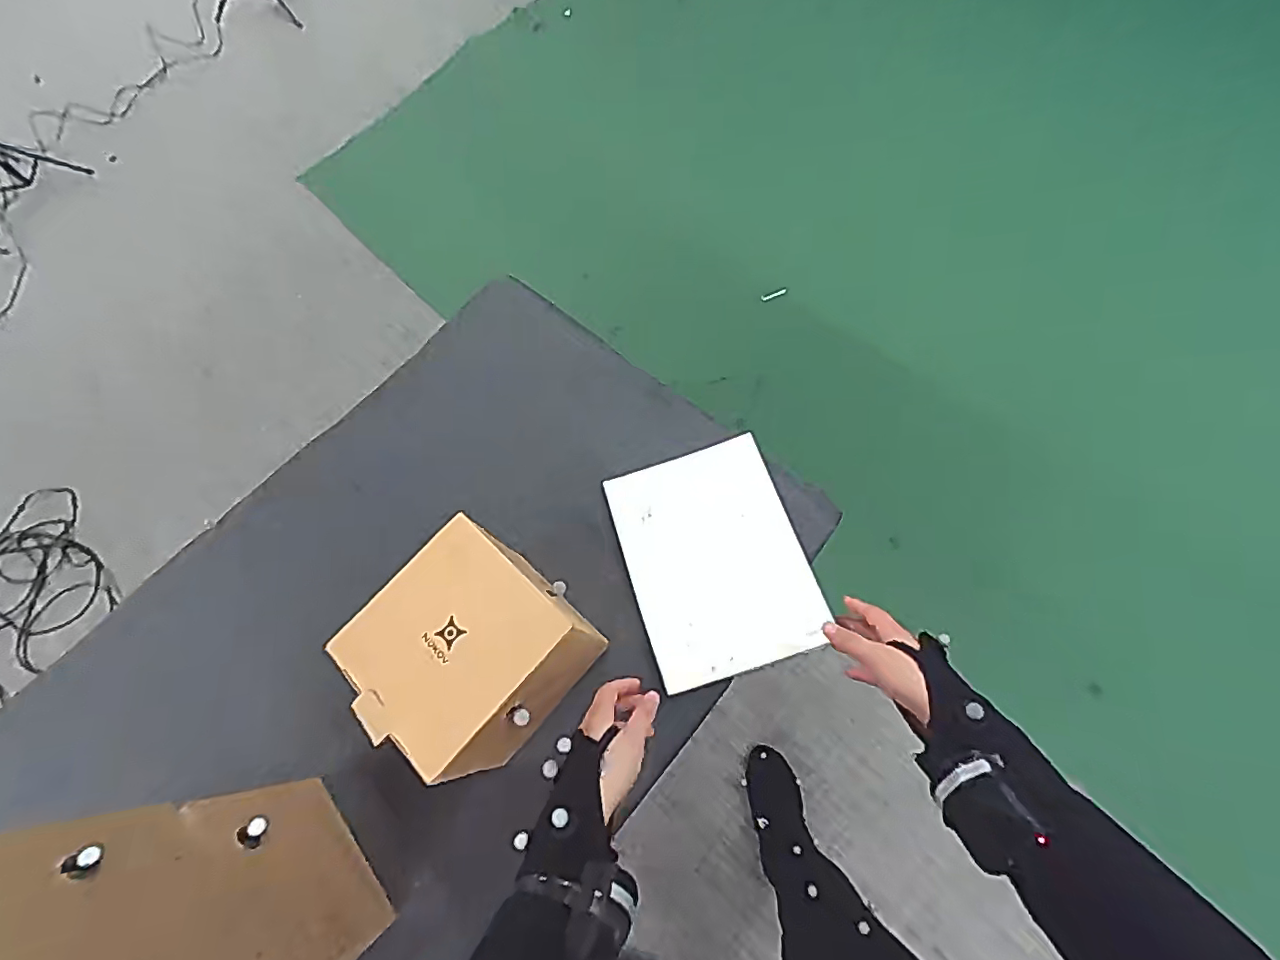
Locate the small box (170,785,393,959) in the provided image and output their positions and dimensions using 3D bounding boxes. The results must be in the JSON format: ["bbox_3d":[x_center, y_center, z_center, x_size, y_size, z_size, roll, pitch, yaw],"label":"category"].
[{"bbox_3d":[-0.374,0.414,0.499,0.168,0.176,0.179,-44,69,-8],"label":"small box"}]

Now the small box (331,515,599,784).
[{"bbox_3d":[-0.160,0.169,0.560,0.168,0.176,0.179,39,80,20],"label":"small box"}]
